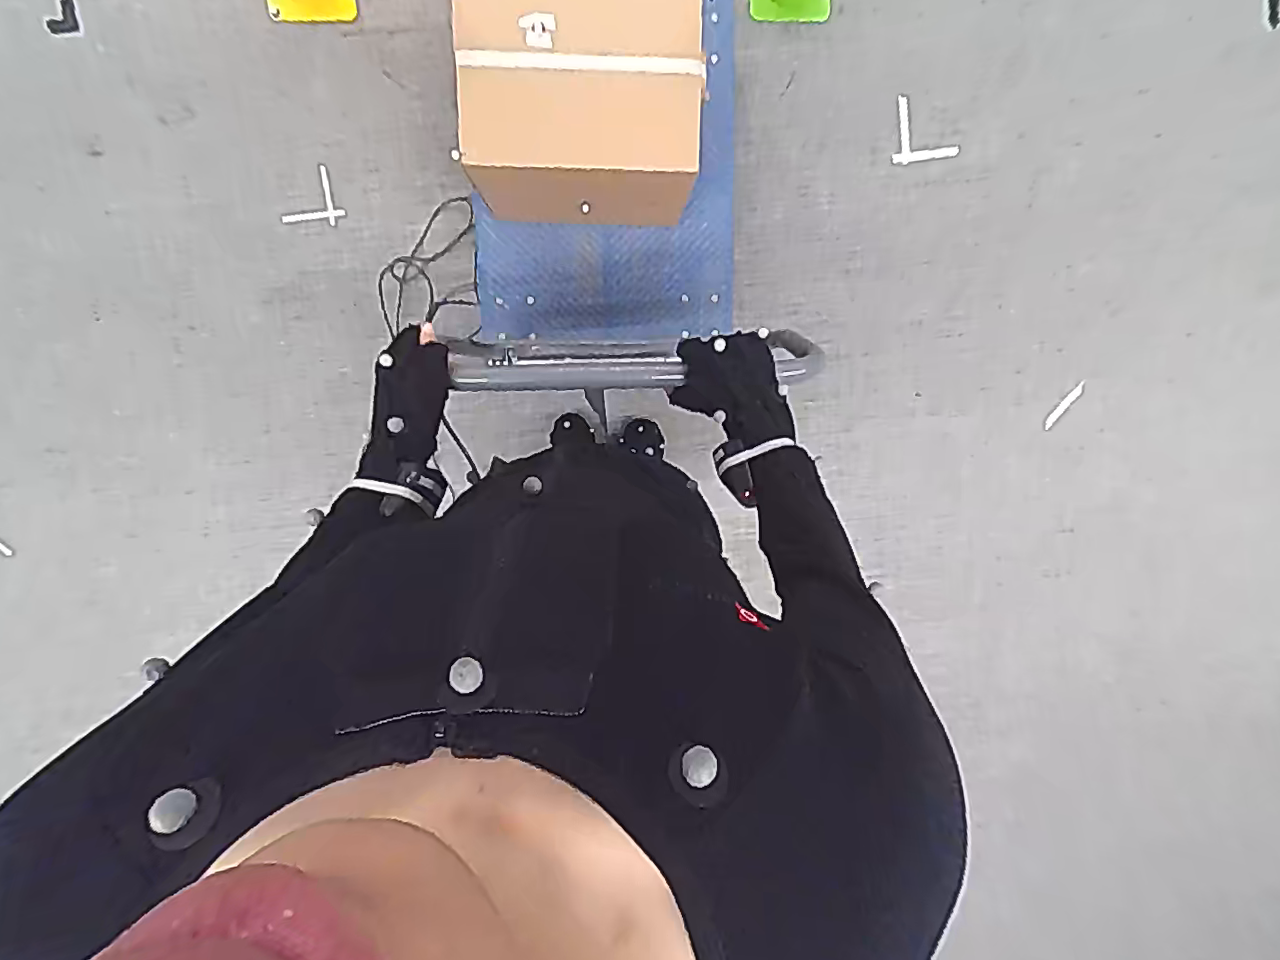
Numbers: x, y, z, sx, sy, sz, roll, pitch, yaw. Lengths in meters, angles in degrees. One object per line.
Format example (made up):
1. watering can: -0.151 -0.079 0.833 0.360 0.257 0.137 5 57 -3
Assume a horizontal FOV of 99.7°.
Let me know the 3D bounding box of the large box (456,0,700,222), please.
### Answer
1. large box: -0.103 -0.702 1.043 0.408 0.320 0.320 0 99 -2

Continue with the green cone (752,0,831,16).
1. green cone: 0.380 -1.208 1.138 0.202 0.368 0.200 -3 99 -4
